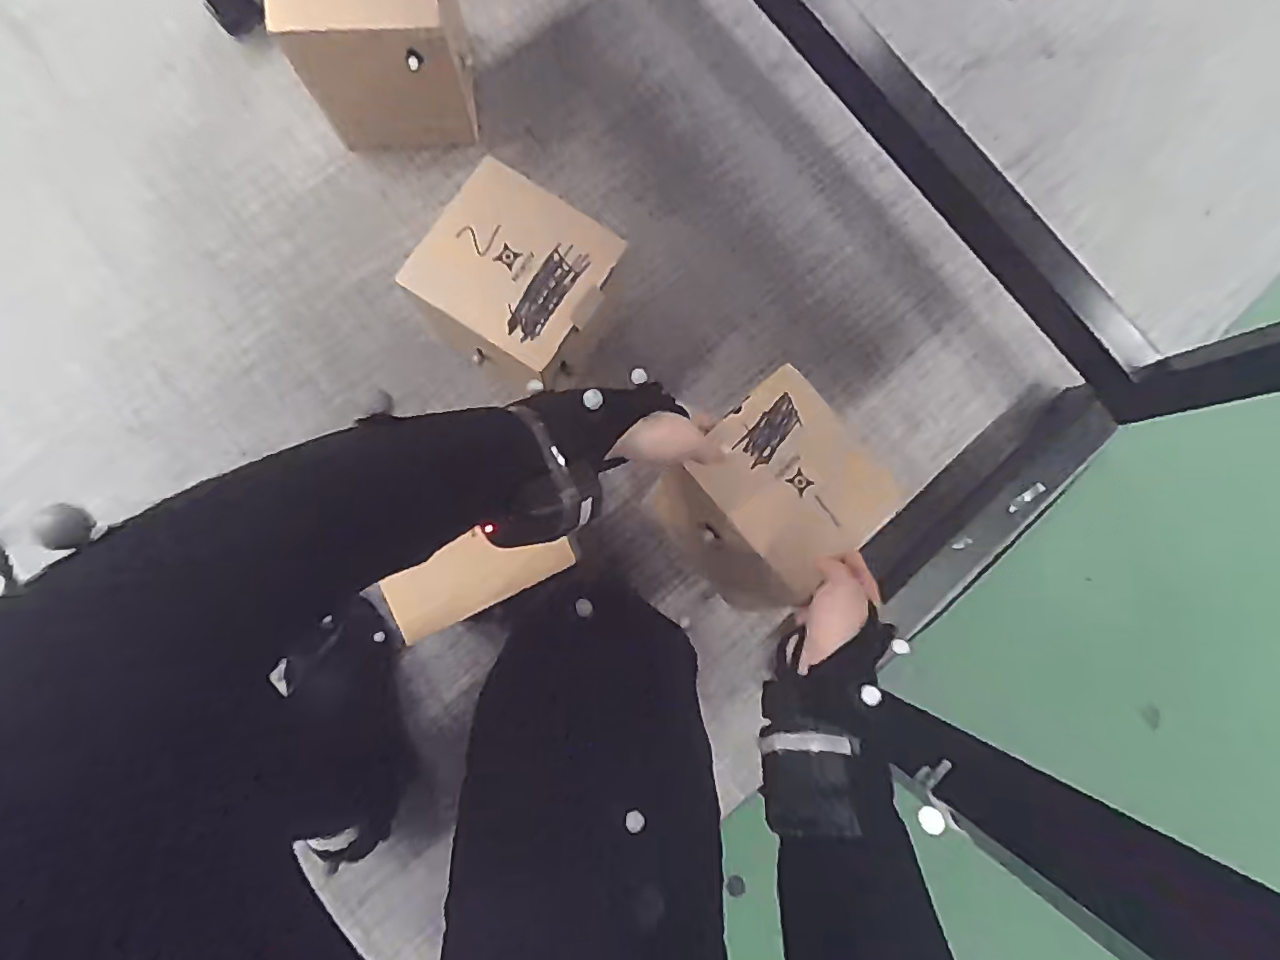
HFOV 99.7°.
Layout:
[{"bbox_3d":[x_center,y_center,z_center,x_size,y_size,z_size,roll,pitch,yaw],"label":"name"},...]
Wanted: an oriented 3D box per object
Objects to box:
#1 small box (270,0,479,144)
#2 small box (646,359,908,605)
[{"bbox_3d":[-0.302,-0.532,0.642,0.179,0.176,0.168,-7,84,-6],"label":"small box"},{"bbox_3d":[0.130,0.013,0.578,0.168,0.176,0.179,-42,84,-22],"label":"small box"}]
